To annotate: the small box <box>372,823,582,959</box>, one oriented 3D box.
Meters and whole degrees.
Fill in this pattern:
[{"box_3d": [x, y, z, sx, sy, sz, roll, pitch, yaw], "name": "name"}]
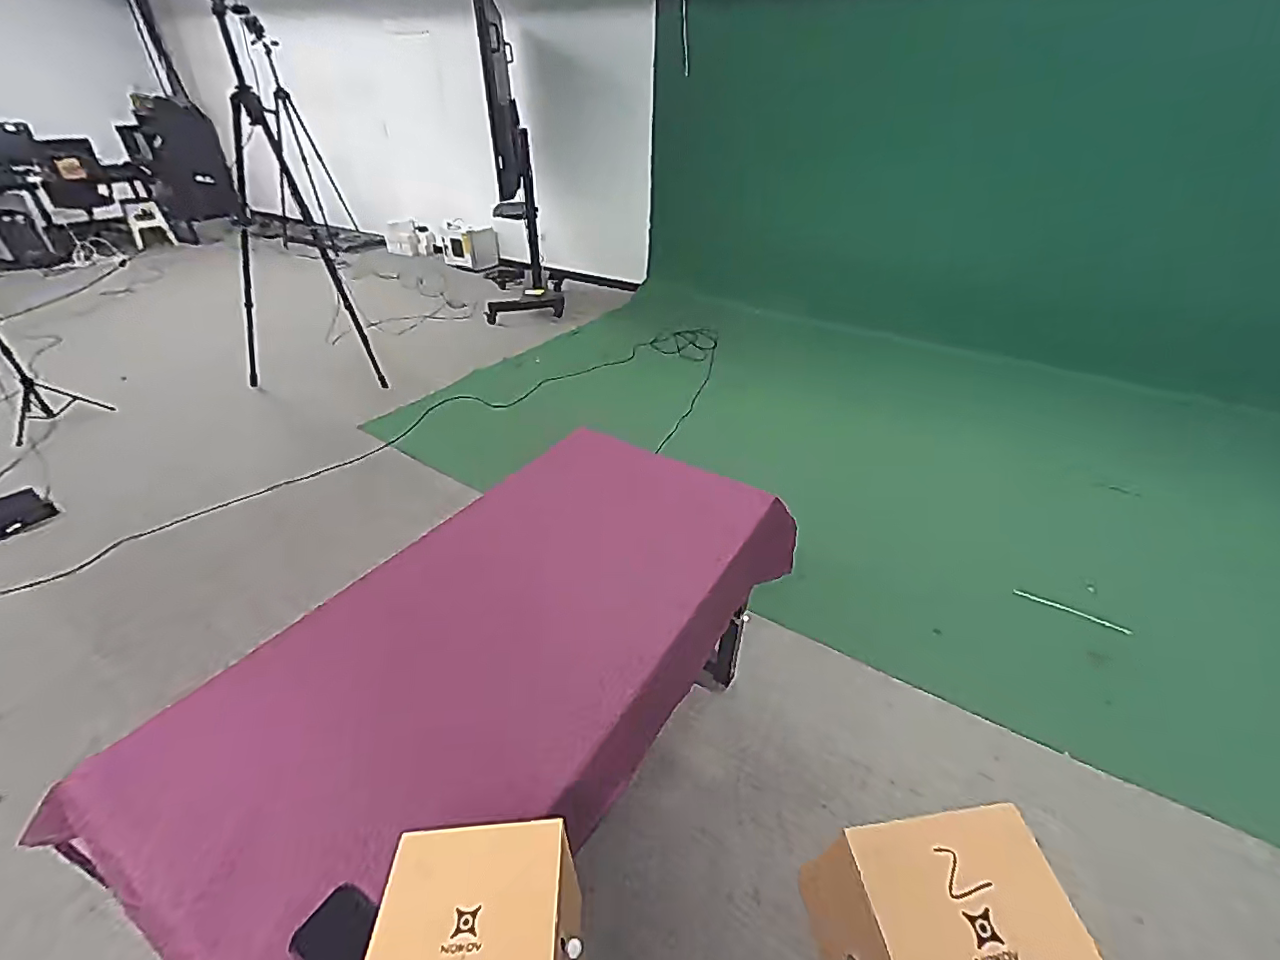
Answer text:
[{"box_3d": [-0.148, 0.474, 0.525, 0.168, 0.176, 0.179, -5, 30, -1], "name": "small box"}]
